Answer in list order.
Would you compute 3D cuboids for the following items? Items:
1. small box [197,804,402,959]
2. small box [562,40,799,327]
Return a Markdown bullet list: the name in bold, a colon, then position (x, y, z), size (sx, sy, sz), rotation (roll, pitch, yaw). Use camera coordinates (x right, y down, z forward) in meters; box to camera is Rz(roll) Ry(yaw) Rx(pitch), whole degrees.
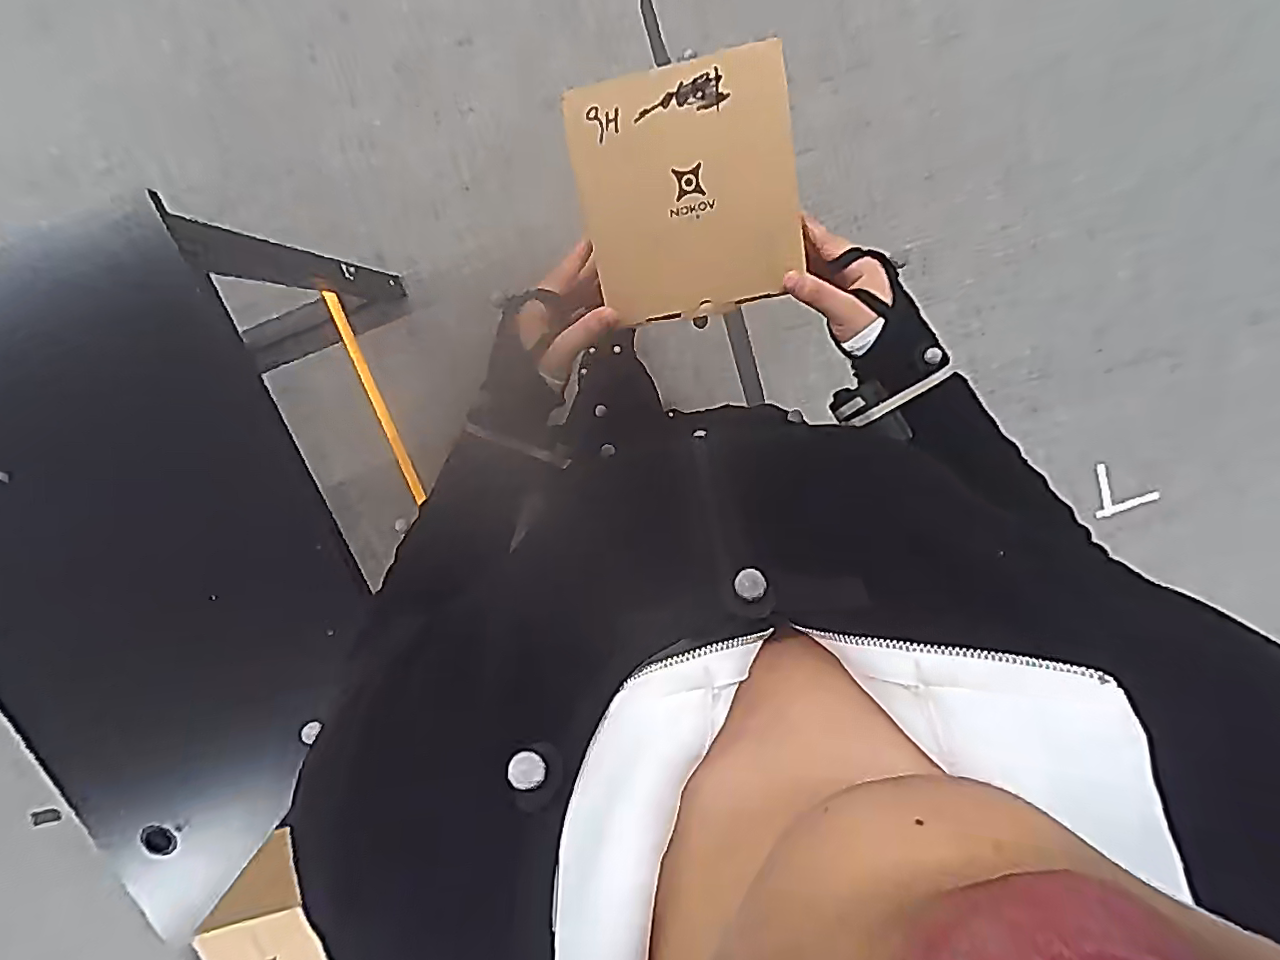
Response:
- **small box**: position (-0.494, 0.639, 0.818), size (0.168, 0.176, 0.179), rotation (-18, 102, 4)
- **small box**: position (0.040, -0.251, 0.499), size (0.168, 0.176, 0.179), rotation (-11, 109, 5)
